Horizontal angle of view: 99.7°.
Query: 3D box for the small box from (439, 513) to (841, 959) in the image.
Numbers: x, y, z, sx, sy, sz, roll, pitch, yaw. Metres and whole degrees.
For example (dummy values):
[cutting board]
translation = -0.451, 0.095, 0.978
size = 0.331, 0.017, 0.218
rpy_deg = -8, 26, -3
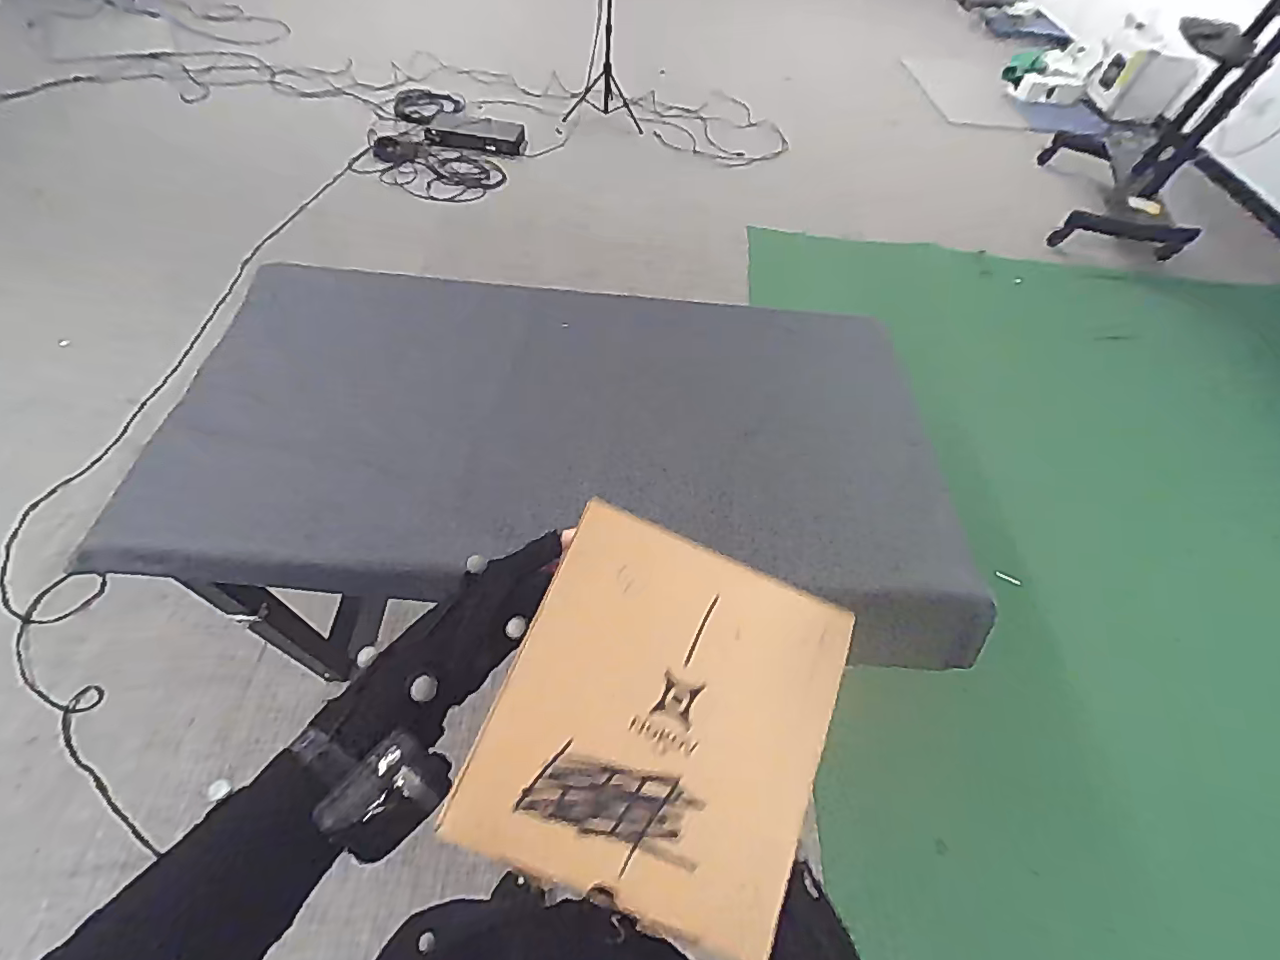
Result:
[small box]
translation = -0.002, 0.149, 0.361
size = 0.168, 0.176, 0.179
rpy_deg = 26, 71, -2
